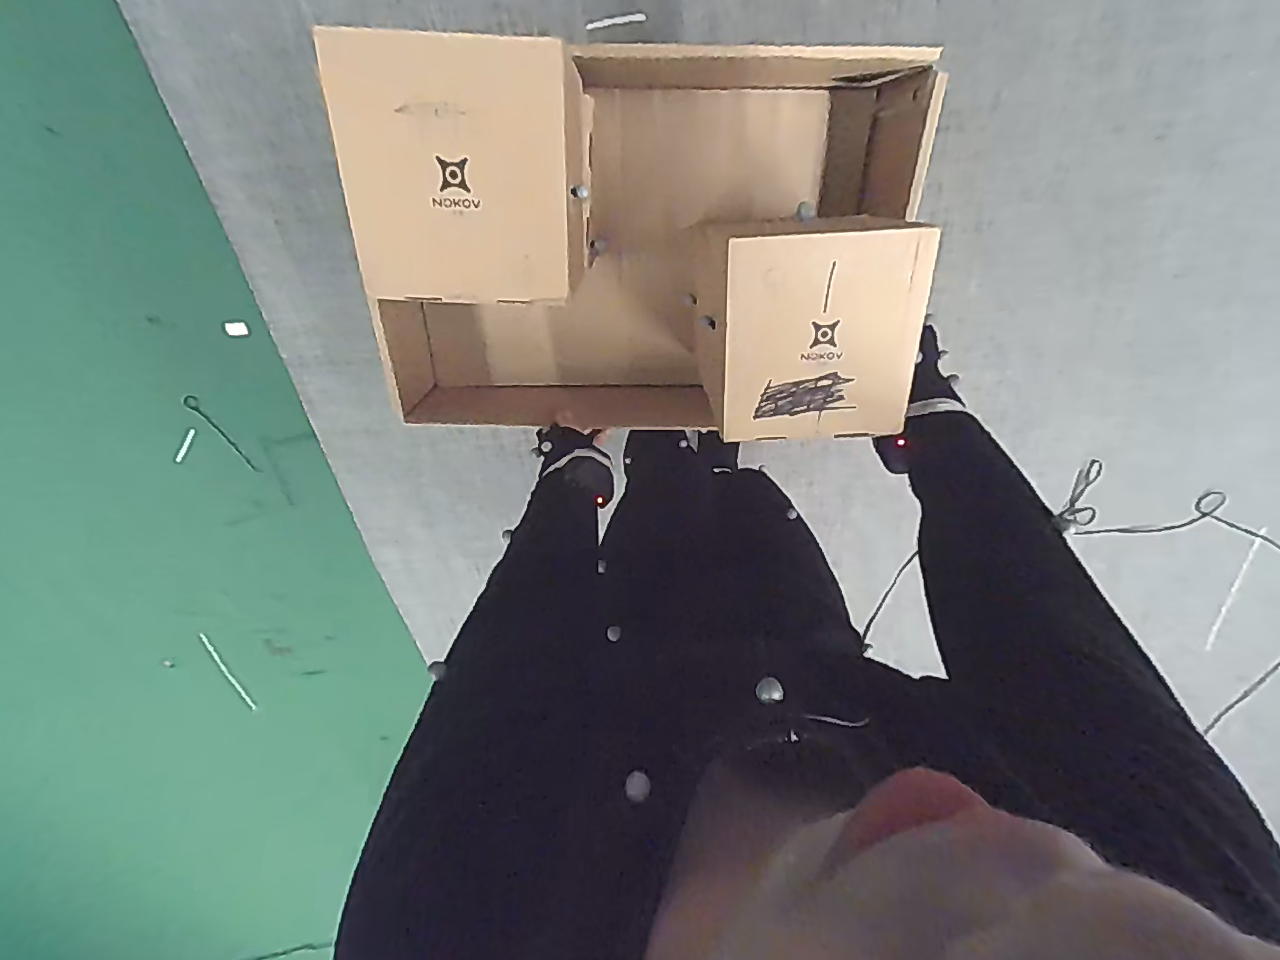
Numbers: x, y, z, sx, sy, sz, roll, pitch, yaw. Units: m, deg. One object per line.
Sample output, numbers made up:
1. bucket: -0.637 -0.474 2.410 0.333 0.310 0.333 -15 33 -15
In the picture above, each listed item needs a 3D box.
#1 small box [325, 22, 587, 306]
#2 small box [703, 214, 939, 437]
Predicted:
1. small box: -0.133 -0.262 0.469 0.168 0.176 0.179 2 119 -3
2. small box: 0.154 -0.156 0.529 0.168 0.176 0.179 -2 118 1
